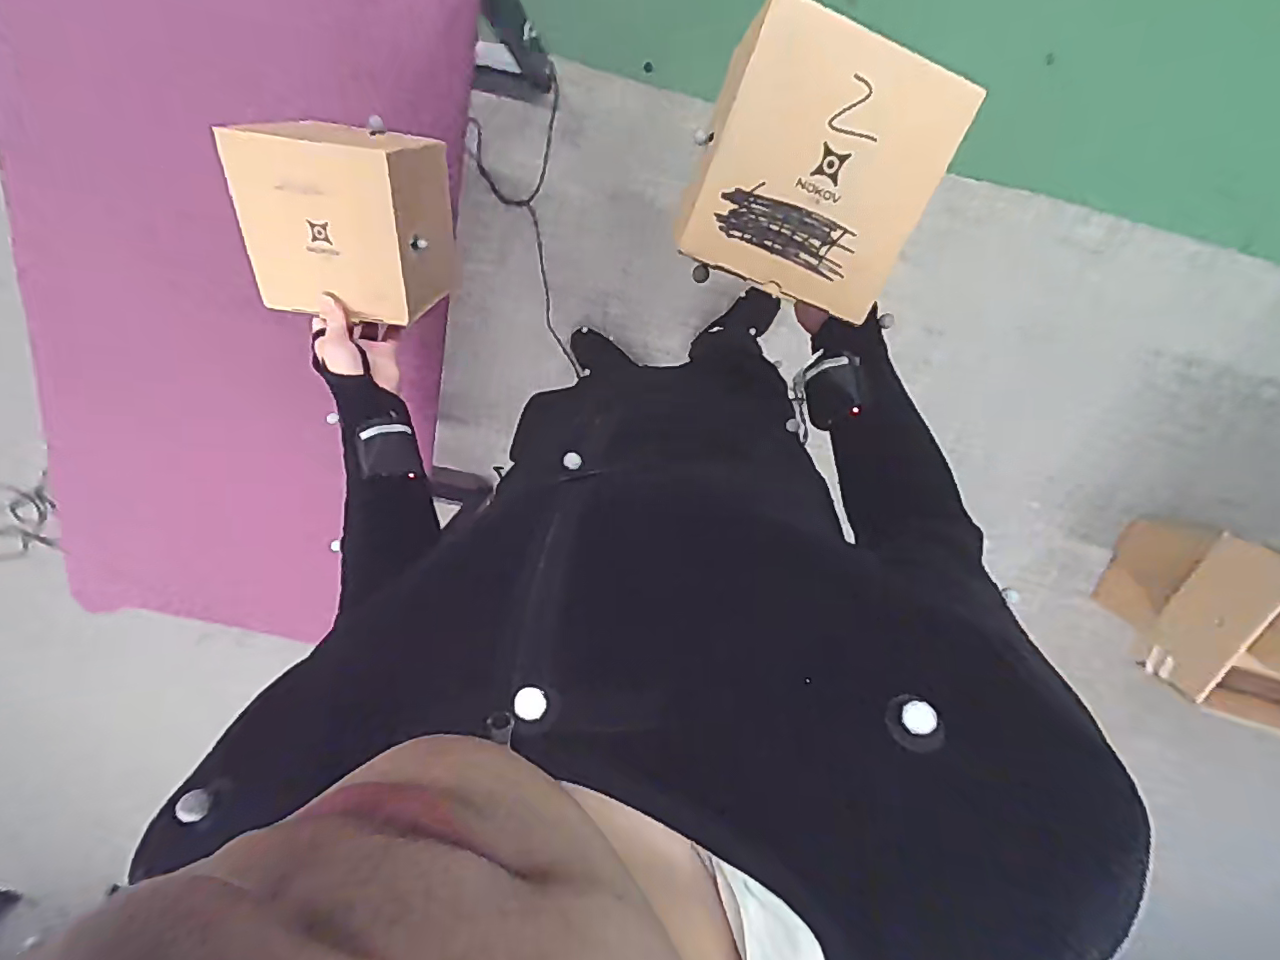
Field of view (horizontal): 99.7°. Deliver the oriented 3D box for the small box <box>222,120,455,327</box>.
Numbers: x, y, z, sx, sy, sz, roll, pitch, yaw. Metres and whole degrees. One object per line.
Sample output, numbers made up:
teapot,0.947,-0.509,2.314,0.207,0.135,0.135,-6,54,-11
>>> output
small box,-0.324,-0.302,0.630,0.168,0.176,0.179,7,125,-3
